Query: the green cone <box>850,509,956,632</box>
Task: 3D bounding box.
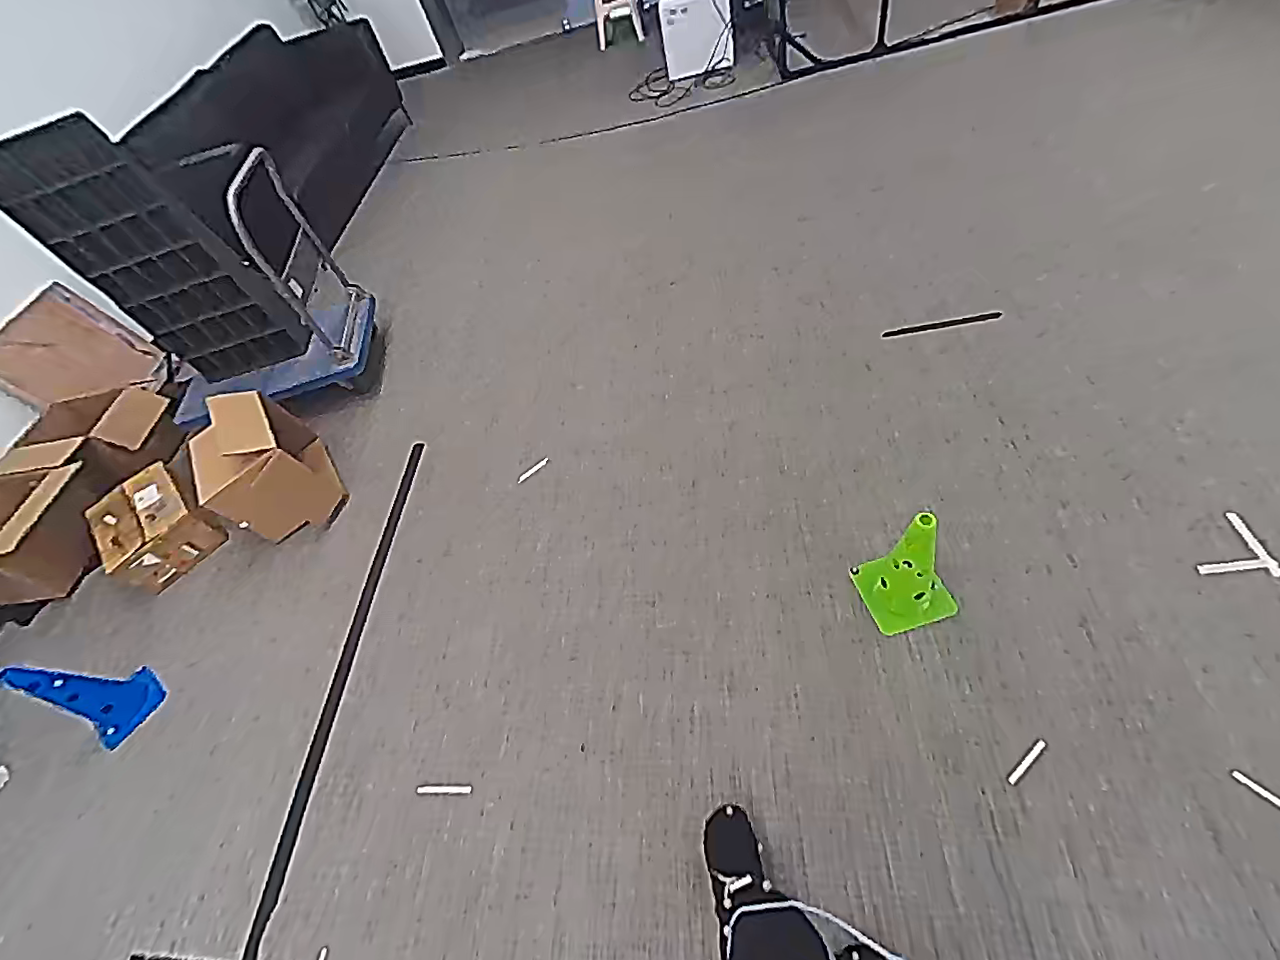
[{"bbox_3d":[0.641,0.184,1.267,0.202,0.368,0.200,-19,52,1],"label":"green cone"}]
